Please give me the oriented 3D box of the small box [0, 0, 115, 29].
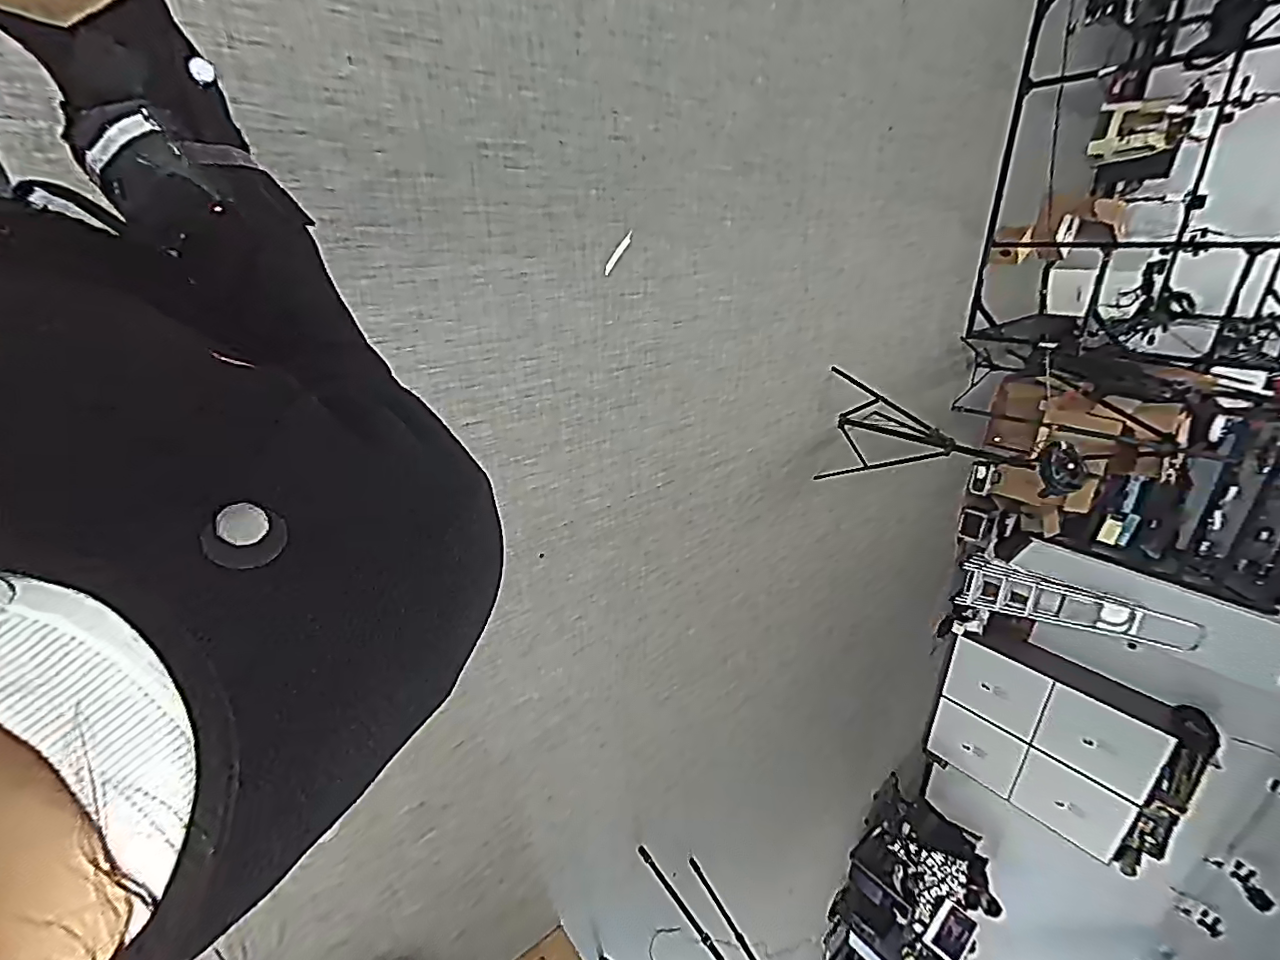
[{"bbox_3d":[-0.289,-0.281,0.158,0.176,0.168,0.179,-17,123,-50],"label":"small box"}]
